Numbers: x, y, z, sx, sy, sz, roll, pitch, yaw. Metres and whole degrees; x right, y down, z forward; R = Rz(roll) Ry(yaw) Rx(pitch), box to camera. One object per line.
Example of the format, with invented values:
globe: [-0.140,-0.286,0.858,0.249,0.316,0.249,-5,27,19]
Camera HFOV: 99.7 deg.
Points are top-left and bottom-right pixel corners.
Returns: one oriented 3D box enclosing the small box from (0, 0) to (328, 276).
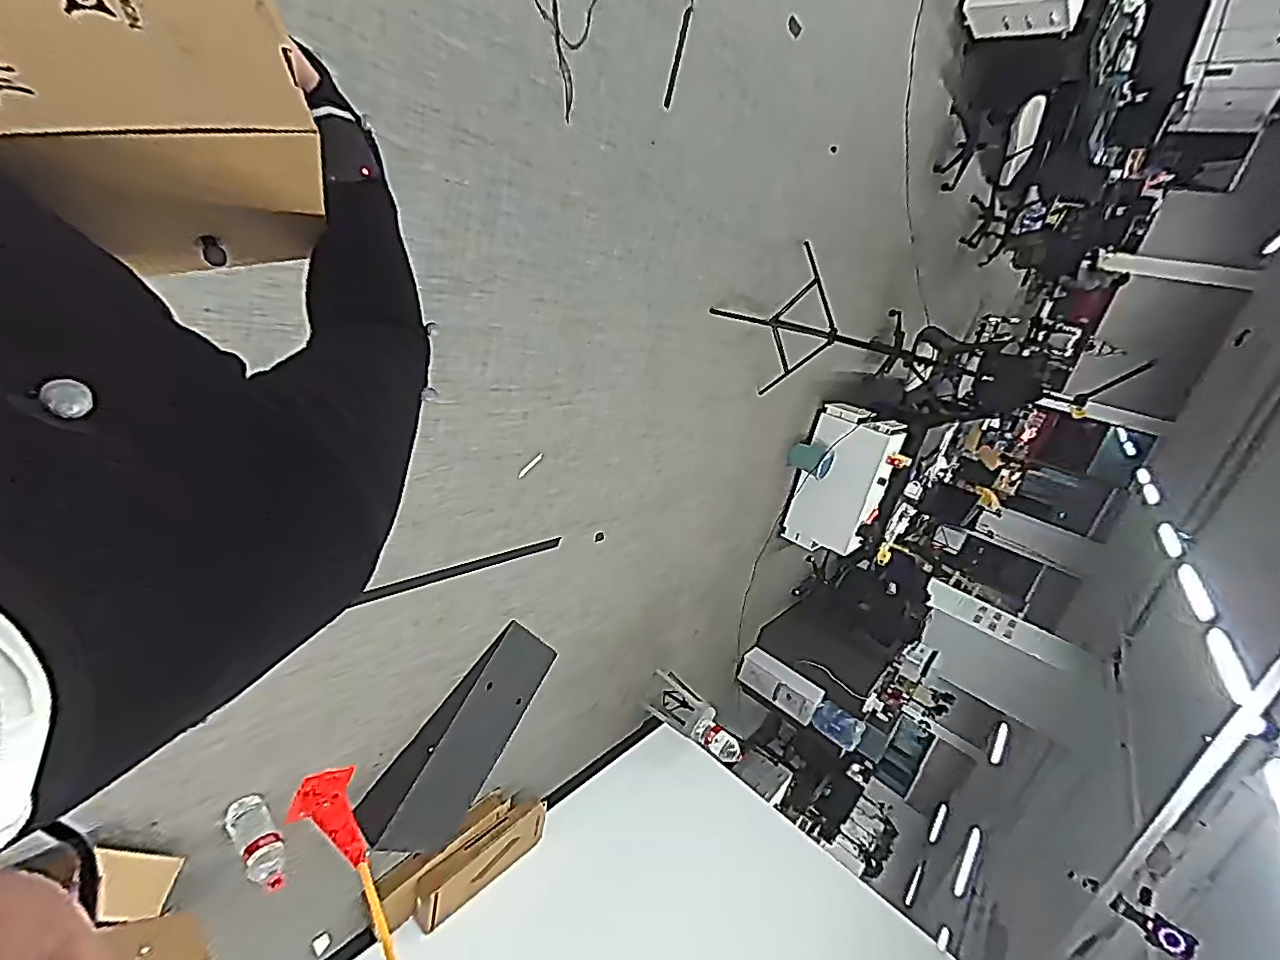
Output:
small box: [-0.359,-0.277,0.408,0.179,0.176,0.168,-22,92,-30]
